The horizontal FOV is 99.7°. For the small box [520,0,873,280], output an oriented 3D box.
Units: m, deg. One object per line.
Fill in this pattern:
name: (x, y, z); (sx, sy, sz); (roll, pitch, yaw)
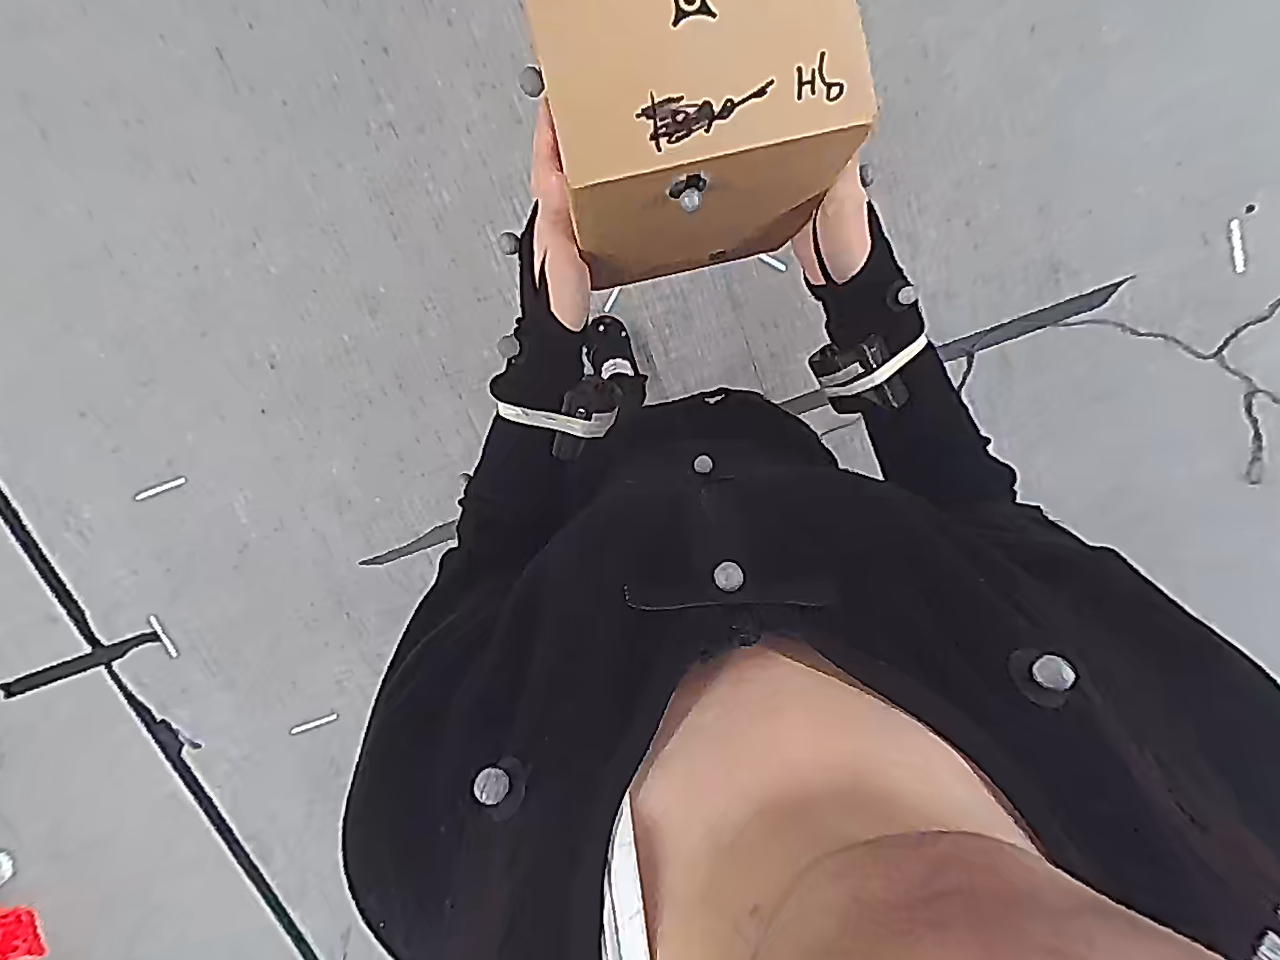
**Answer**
small box: (0.018, -0.256, 0.349); (0.168, 0.176, 0.179); (-13, 92, -1)
